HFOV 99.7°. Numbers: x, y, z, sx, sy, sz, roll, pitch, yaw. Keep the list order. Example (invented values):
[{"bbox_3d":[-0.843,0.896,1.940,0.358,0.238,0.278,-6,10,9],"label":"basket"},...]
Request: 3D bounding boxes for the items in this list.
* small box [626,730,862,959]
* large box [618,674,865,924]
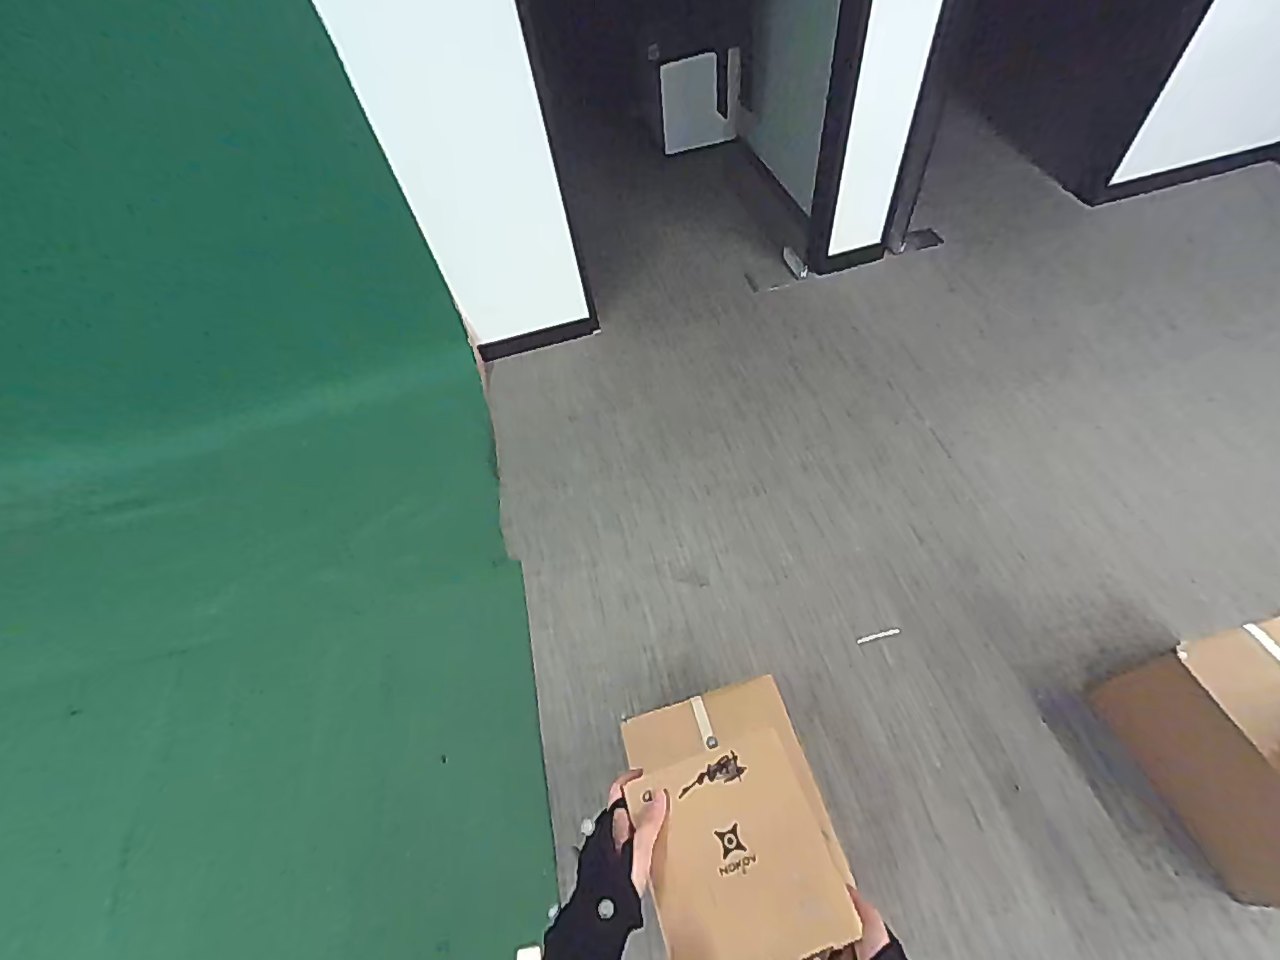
[{"bbox_3d":[0.099,0.387,0.558,0.168,0.176,0.179,-19,54,-4],"label":"small box"},{"bbox_3d":[0.176,0.661,1.060,0.320,0.320,0.408,-16,54,-3],"label":"large box"}]
